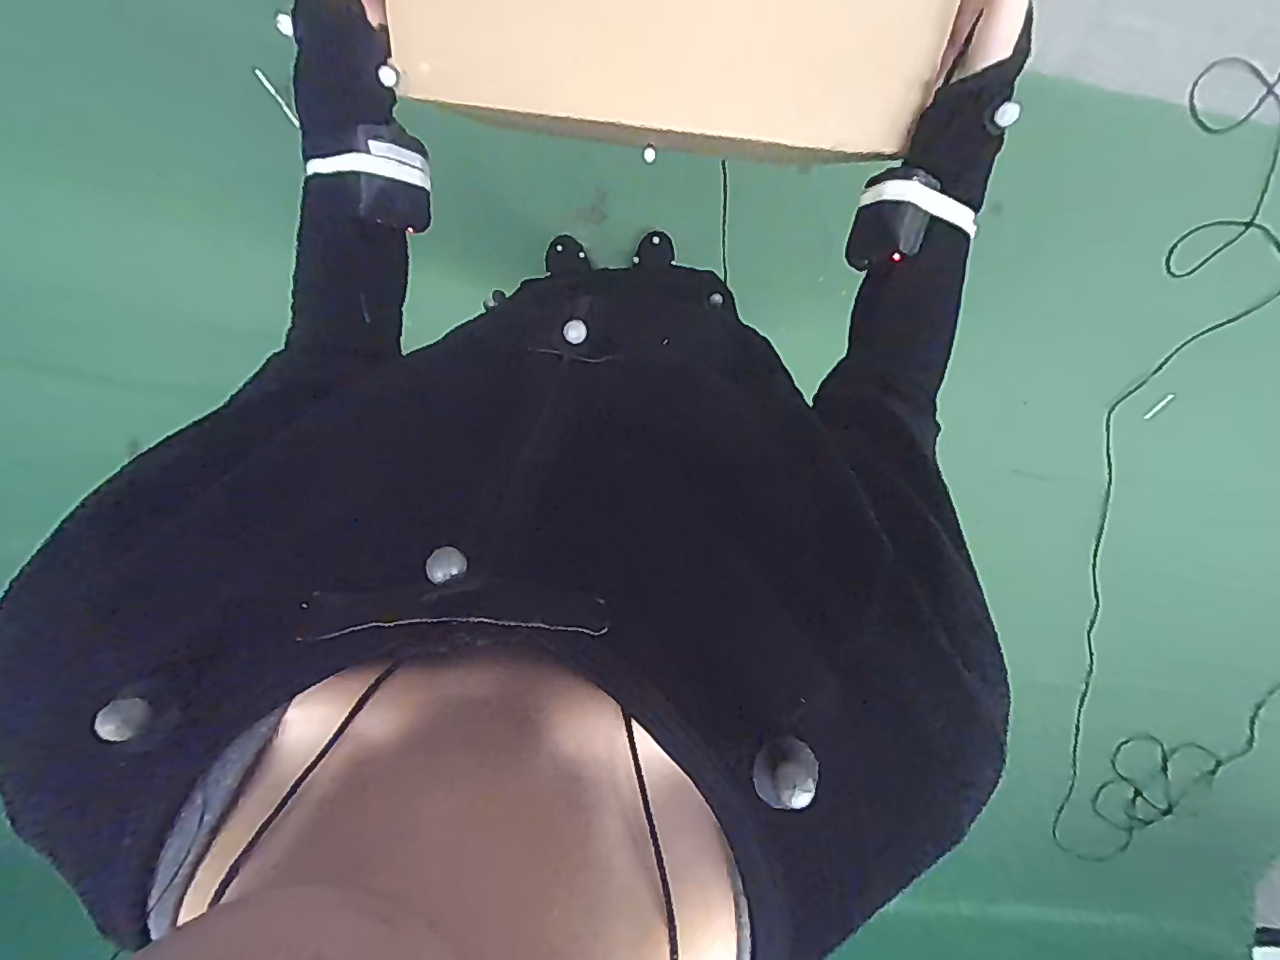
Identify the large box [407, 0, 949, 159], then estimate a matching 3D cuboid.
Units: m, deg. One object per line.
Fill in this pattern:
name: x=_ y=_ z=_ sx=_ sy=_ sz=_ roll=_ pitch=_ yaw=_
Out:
large box: x=0.034 y=-0.485 z=0.488 sx=0.408 sy=0.320 sz=0.320 roll=4 pitch=119 yaw=-4
